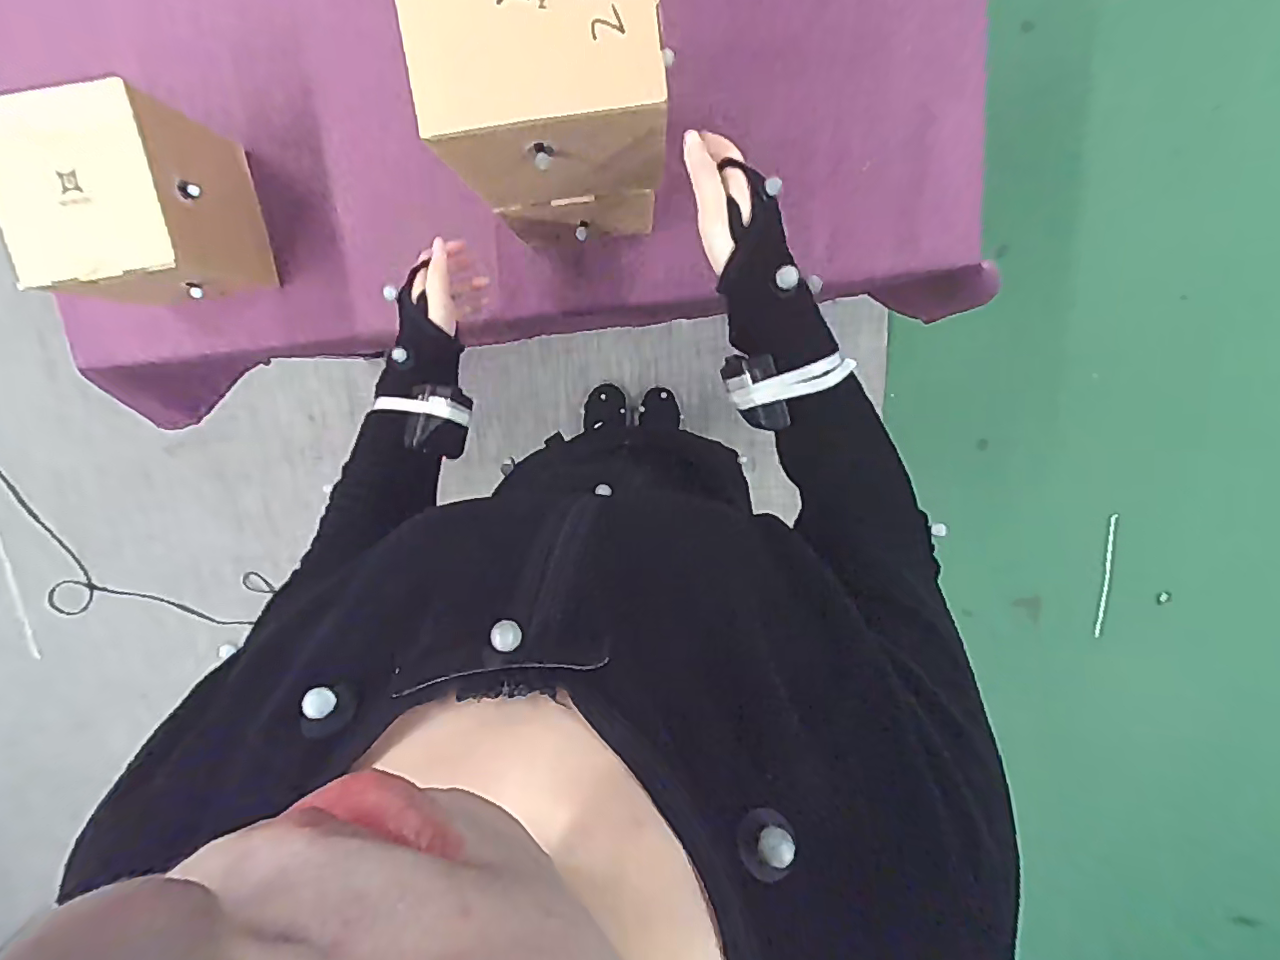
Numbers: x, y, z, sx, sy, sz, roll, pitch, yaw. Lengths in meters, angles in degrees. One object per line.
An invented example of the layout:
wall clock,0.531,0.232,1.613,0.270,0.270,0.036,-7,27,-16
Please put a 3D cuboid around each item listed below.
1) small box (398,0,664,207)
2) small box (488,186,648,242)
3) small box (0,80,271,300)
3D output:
small box,-0.075,-0.338,0.439,0.179,0.176,0.168,-6,102,1
small box,-0.078,-0.373,0.601,0.168,0.176,0.179,-6,102,1
small box,-0.563,-0.307,0.614,0.168,0.176,0.179,-7,101,0
